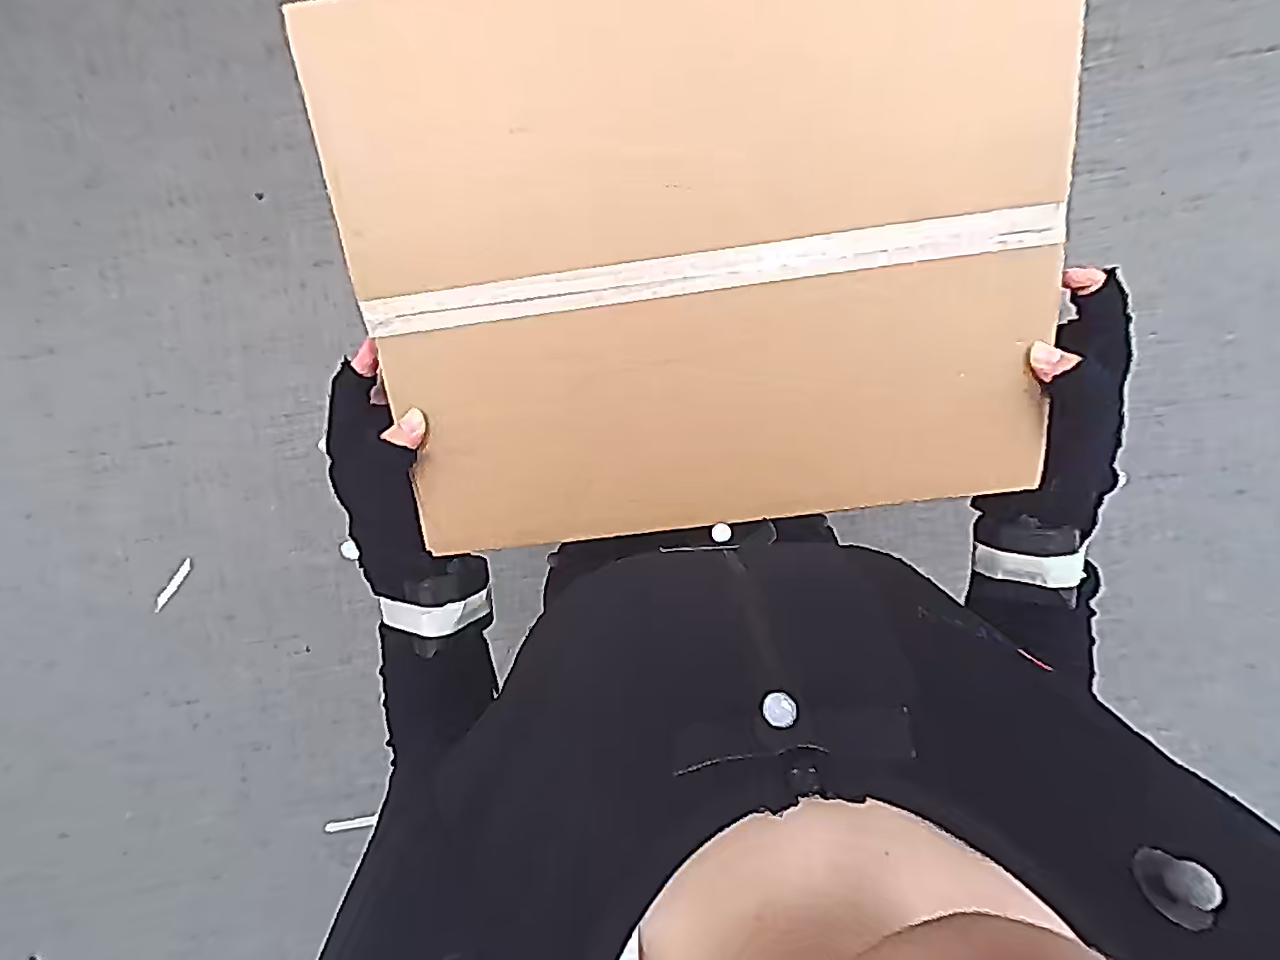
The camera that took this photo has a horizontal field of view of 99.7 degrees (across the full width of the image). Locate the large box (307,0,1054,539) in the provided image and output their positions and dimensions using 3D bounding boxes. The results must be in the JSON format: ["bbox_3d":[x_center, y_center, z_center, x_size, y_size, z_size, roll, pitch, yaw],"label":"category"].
[{"bbox_3d":[0.034,-0.171,0.465,0.408,0.320,0.320,-7,108,2],"label":"large box"}]
